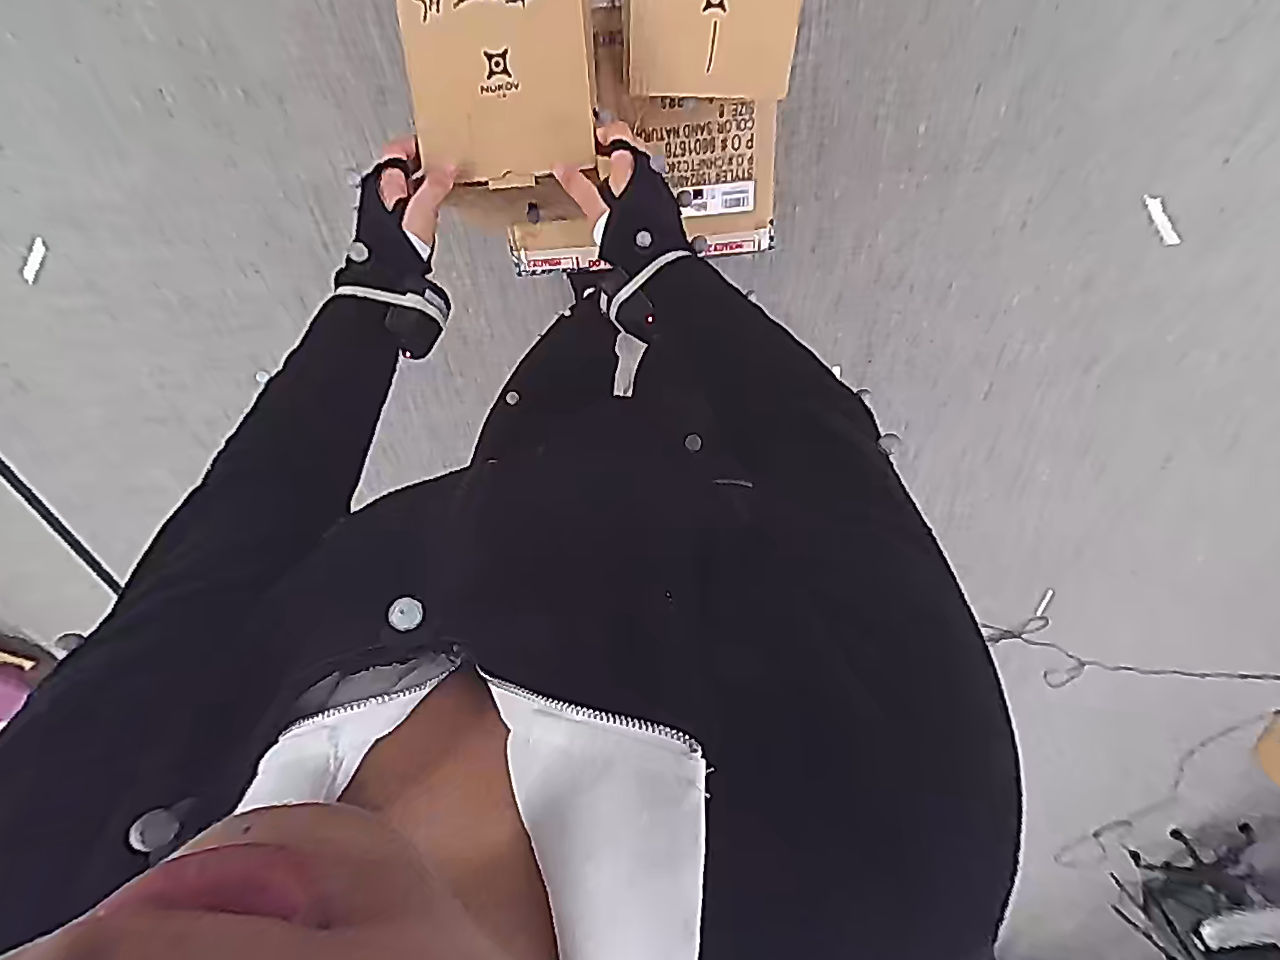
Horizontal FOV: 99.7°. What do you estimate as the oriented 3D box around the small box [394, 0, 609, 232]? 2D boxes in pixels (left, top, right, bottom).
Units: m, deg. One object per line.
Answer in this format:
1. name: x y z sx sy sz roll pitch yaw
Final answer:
1. small box: -0.125 -0.369 0.560 0.168 0.176 0.179 -5 101 2
